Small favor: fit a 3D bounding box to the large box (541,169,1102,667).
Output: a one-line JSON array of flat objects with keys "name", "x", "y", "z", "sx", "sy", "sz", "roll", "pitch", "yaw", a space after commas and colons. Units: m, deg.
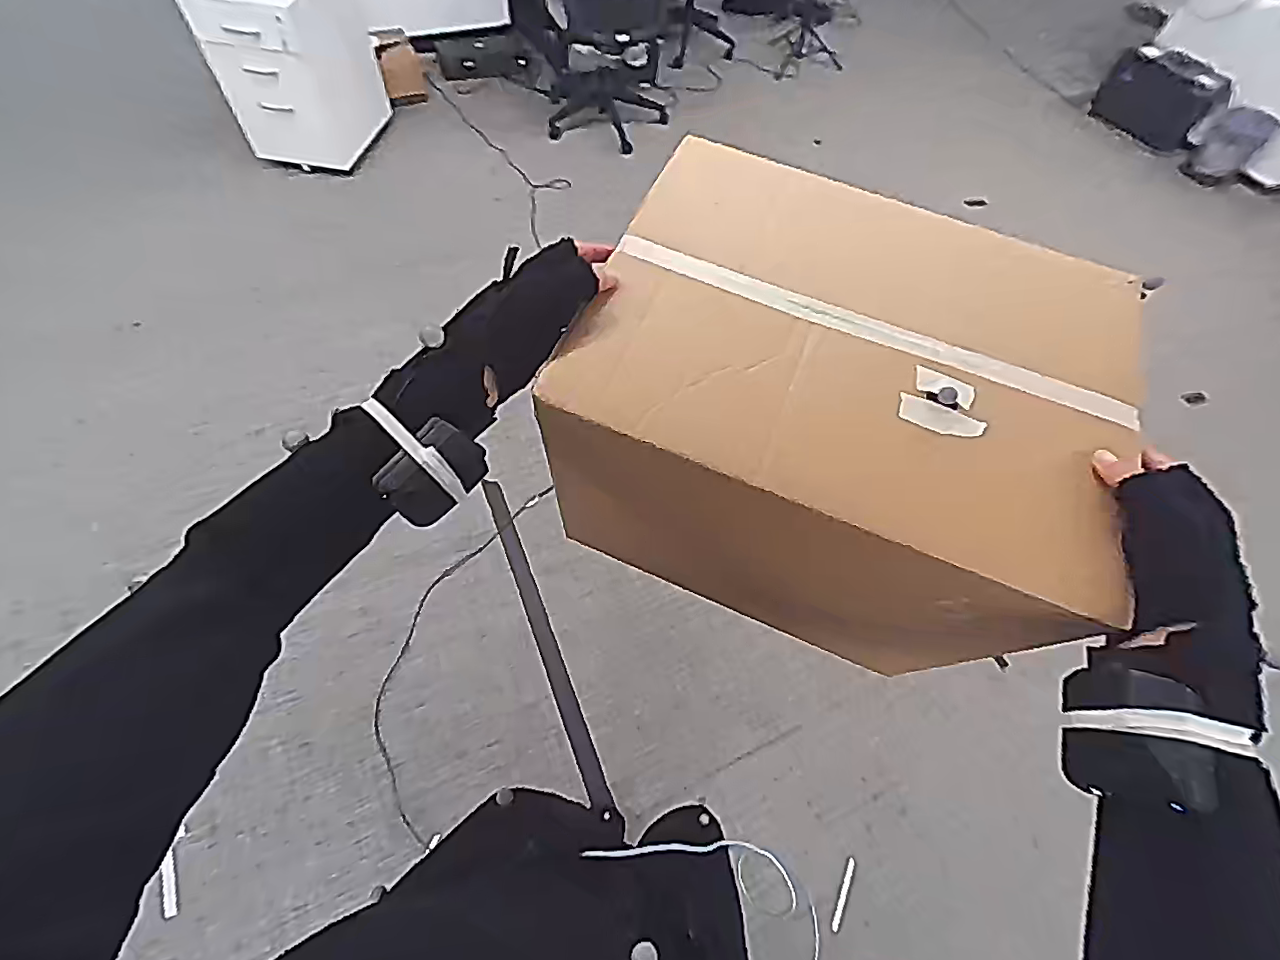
[{"name": "large box", "x": 0.153, "y": -0.041, "z": 0.568, "sx": 0.408, "sy": 0.320, "sz": 0.320, "roll": 22, "pitch": 66, "yaw": 6}]
